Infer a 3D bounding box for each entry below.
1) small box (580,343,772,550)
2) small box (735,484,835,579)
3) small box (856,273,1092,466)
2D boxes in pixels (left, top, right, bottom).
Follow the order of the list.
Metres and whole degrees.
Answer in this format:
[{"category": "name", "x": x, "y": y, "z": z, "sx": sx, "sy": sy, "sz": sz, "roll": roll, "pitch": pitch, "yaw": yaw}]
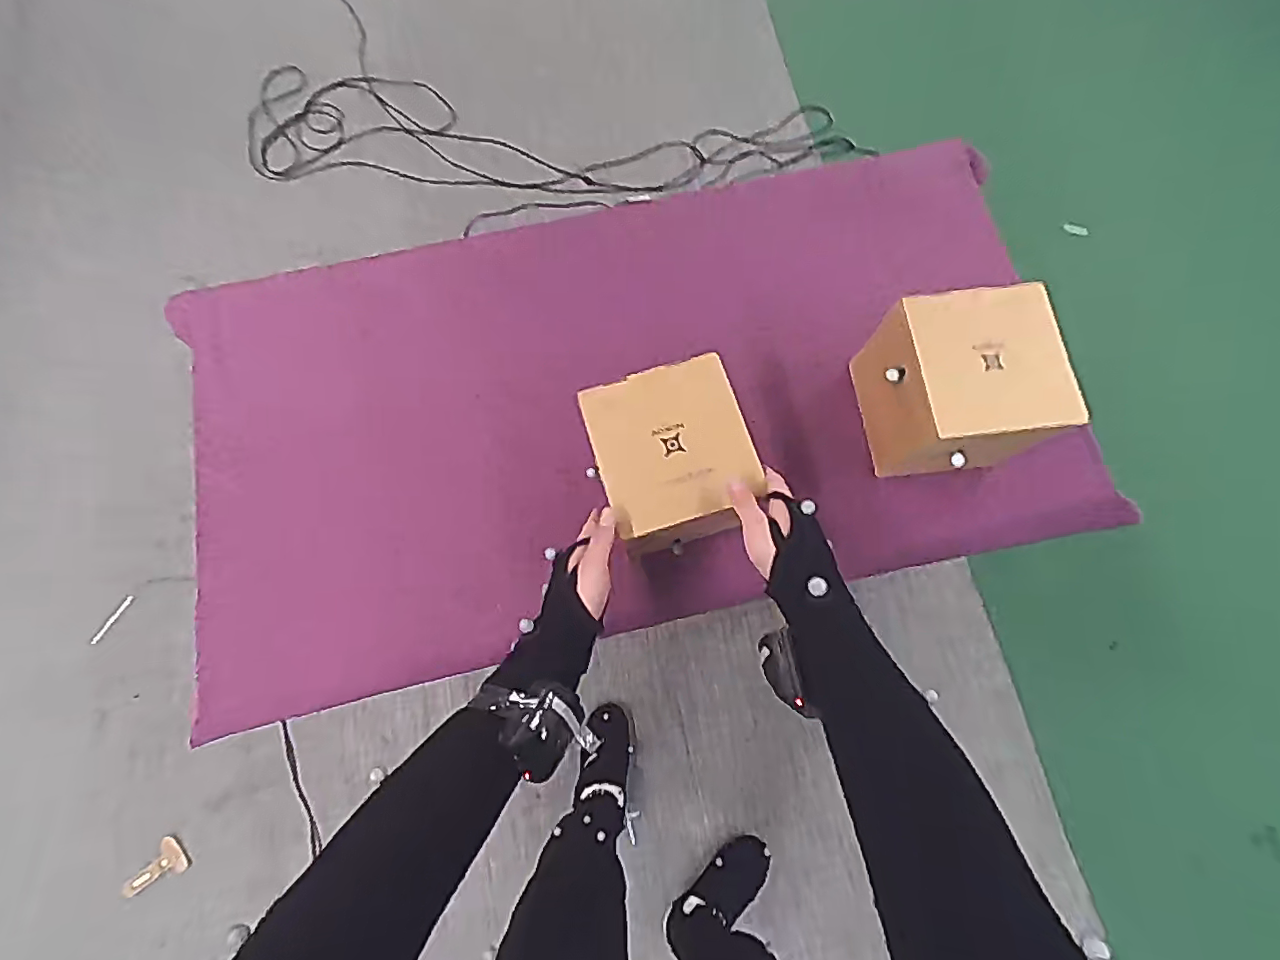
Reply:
[{"category": "small box", "x": 0.035, "y": -0.029, "z": 0.644, "sx": 0.168, "sy": 0.176, "sz": 0.179, "roll": -17, "pitch": 76, "yaw": -3}, {"category": "small box", "x": 0.351, "y": 0.134, "z": 1.350, "sx": 0.168, "sy": 0.176, "sz": 0.179, "roll": -19, "pitch": 76, "yaw": -5}, {"category": "small box", "x": 0.389, "y": -0.122, "z": 0.668, "sx": 0.168, "sy": 0.176, "sz": 0.179, "roll": -6, "pitch": 74, "yaw": -1}]
